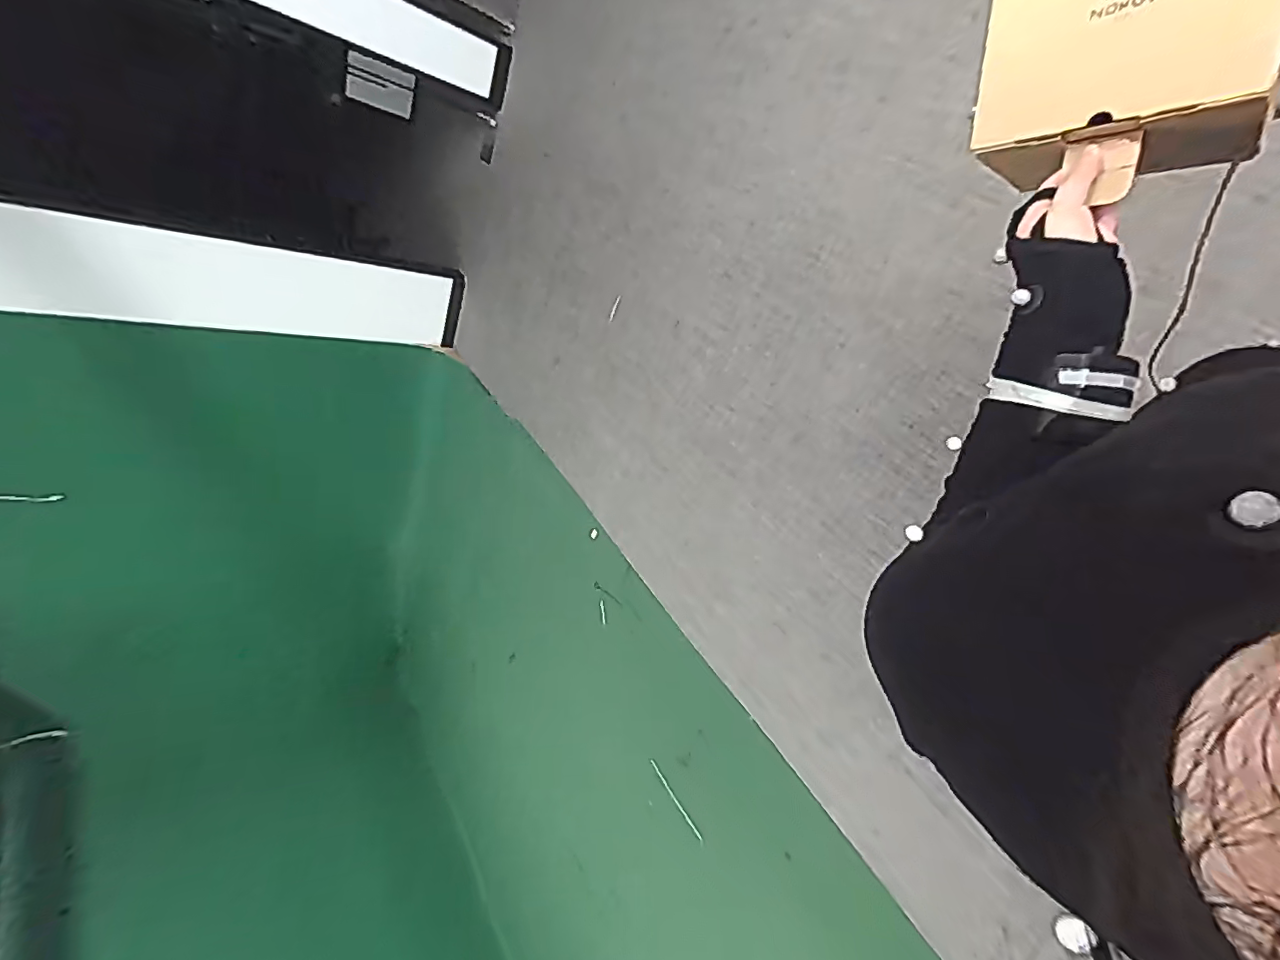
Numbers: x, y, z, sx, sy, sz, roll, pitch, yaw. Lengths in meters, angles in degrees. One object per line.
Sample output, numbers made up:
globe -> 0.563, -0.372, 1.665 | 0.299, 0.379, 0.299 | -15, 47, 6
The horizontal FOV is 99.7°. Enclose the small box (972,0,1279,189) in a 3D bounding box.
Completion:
small box -> 0.391, -0.351, 0.425 | 0.168, 0.176, 0.179 | 16, 112, 43
